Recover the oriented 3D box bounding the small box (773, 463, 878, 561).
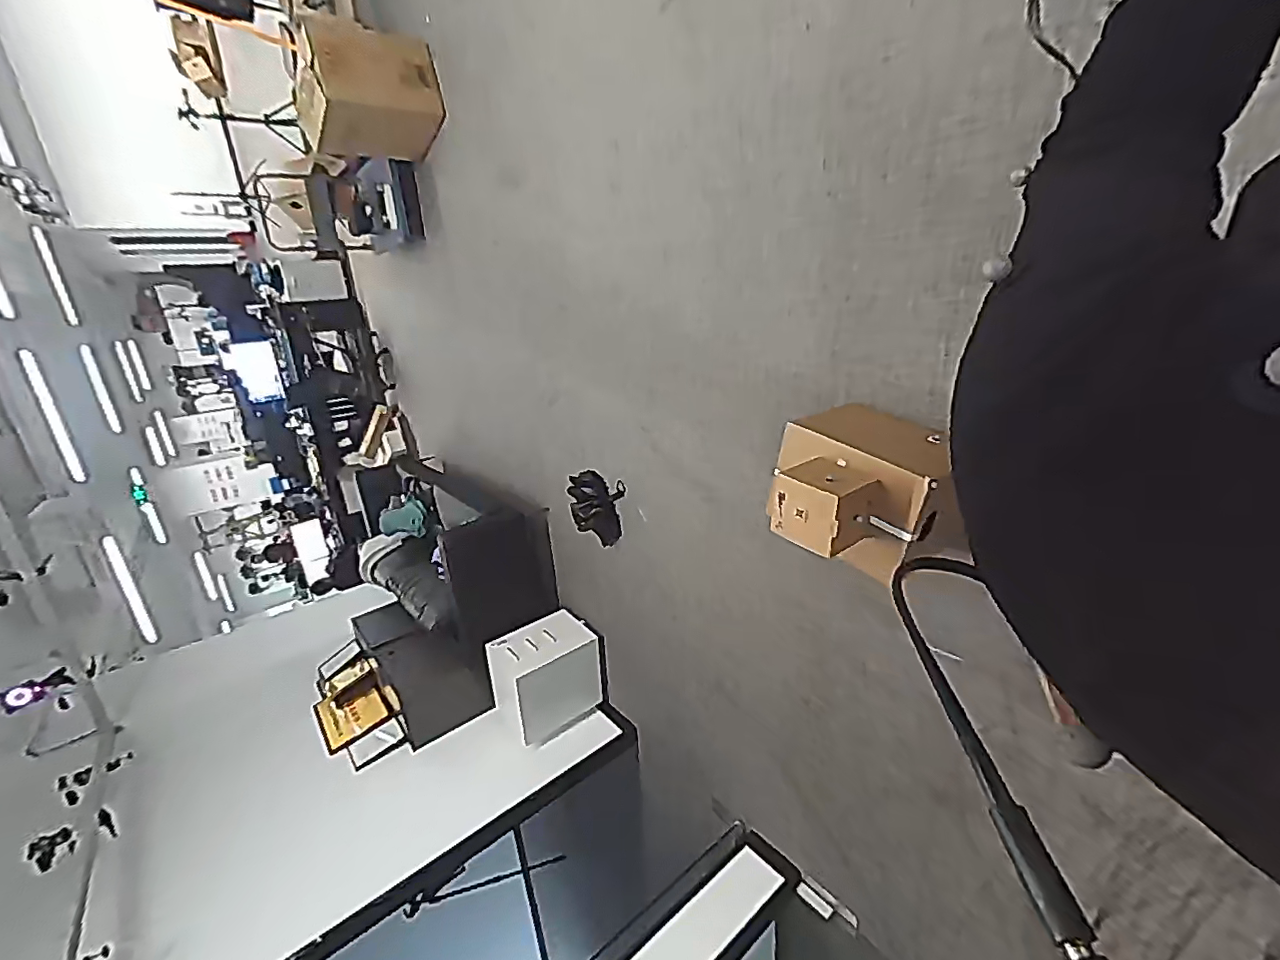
[{"bbox_3d":[0.458,0.070,1.336,0.179,0.176,0.168,27,125,45],"label":"small box"}]
